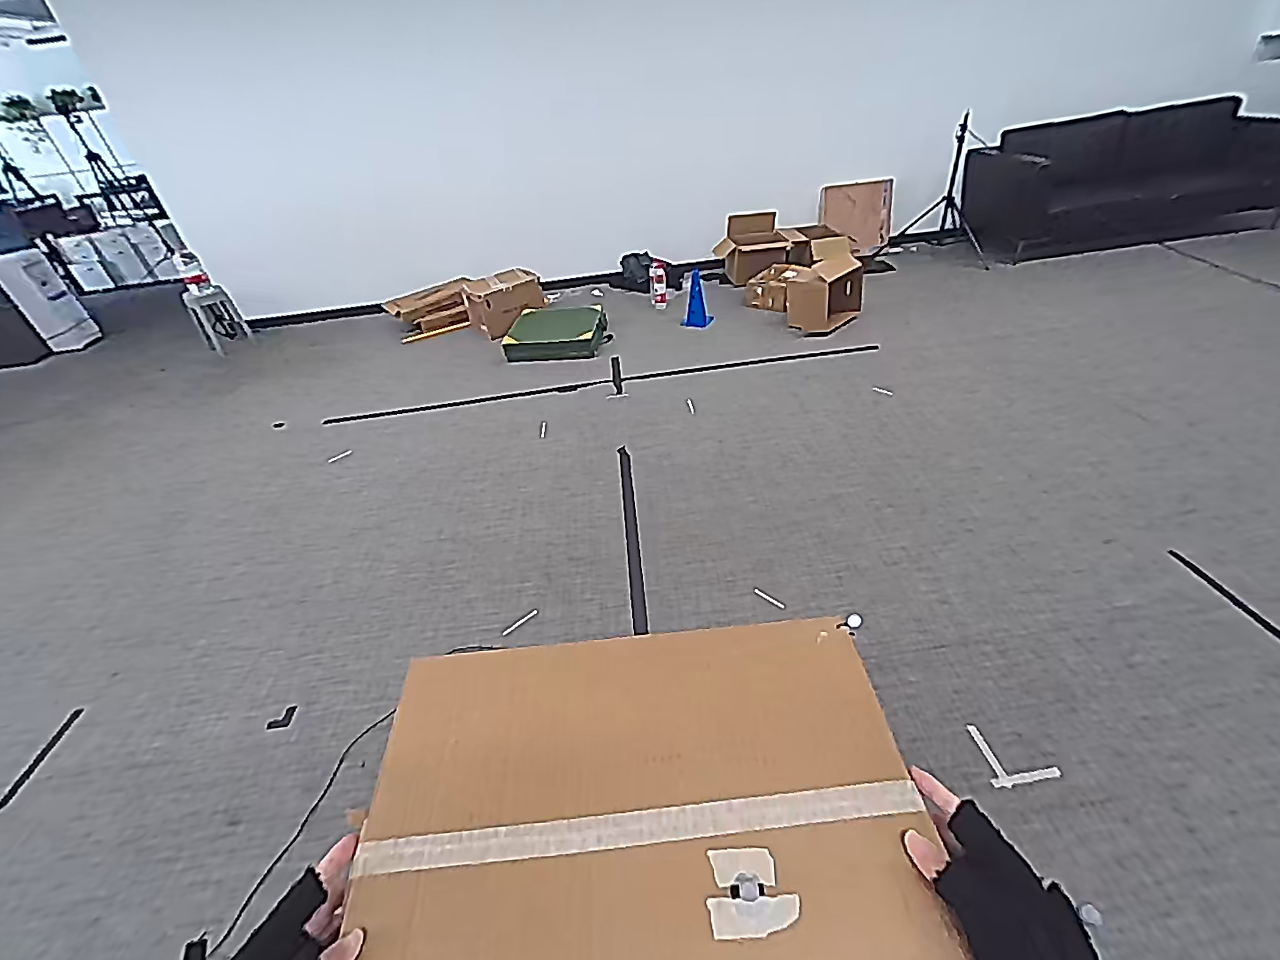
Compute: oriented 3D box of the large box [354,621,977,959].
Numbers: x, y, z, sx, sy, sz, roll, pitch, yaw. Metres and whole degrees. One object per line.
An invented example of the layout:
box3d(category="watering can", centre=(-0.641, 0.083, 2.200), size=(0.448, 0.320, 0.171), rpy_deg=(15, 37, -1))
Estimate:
box3d(category="large box", centre=(0.011, 0.366, 0.501), size=(0.408, 0.320, 0.320), rpy_deg=(-5, 43, -2))
